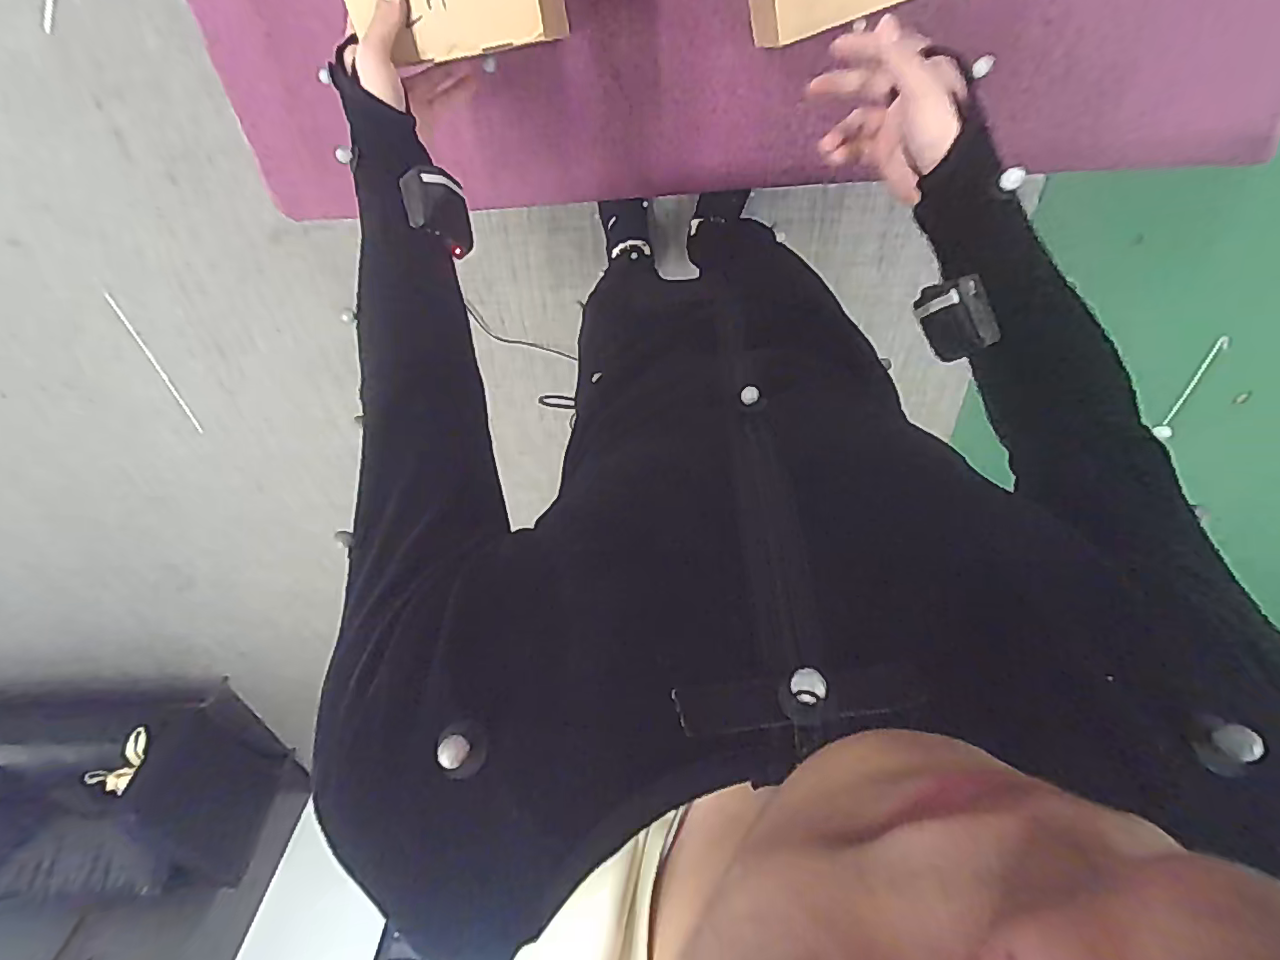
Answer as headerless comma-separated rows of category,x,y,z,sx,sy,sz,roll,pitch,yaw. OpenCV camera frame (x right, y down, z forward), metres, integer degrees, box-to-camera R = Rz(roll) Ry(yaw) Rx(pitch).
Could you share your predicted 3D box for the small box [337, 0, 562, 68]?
small box,-0.174,-0.487,0.477,0.168,0.176,0.179,-5,130,6
